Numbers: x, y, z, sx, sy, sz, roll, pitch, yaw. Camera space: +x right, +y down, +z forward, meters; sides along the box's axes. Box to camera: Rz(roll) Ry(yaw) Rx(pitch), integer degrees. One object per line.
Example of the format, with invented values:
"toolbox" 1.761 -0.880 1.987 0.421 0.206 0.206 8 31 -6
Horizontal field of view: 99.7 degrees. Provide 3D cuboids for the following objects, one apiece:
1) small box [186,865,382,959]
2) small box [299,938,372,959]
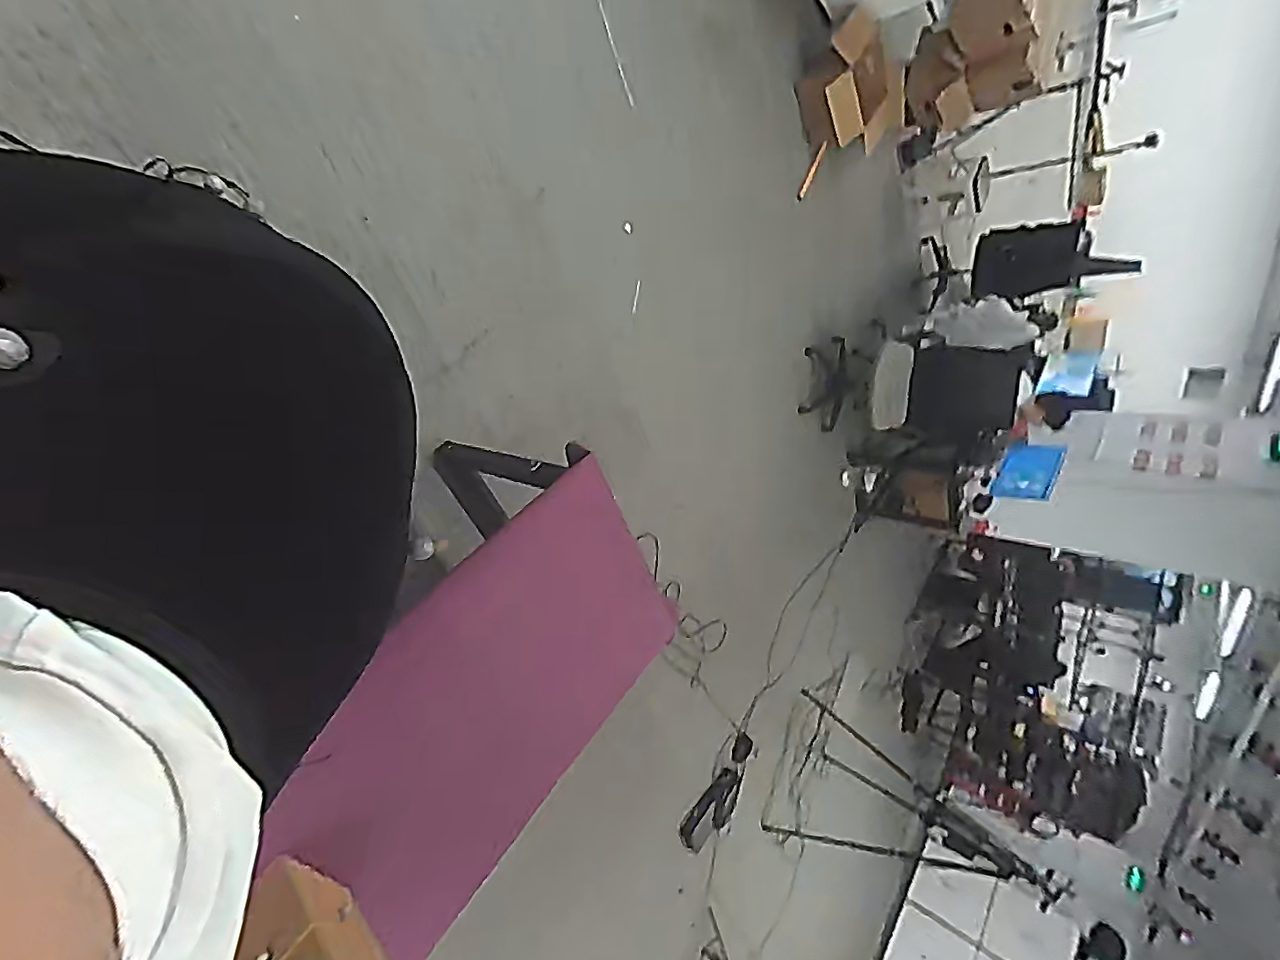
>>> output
"small box" -0.543 0.741 0.829 0.168 0.176 0.179 -47 130 -31
"small box" -0.422 0.768 0.719 0.168 0.176 0.179 -45 128 -31
